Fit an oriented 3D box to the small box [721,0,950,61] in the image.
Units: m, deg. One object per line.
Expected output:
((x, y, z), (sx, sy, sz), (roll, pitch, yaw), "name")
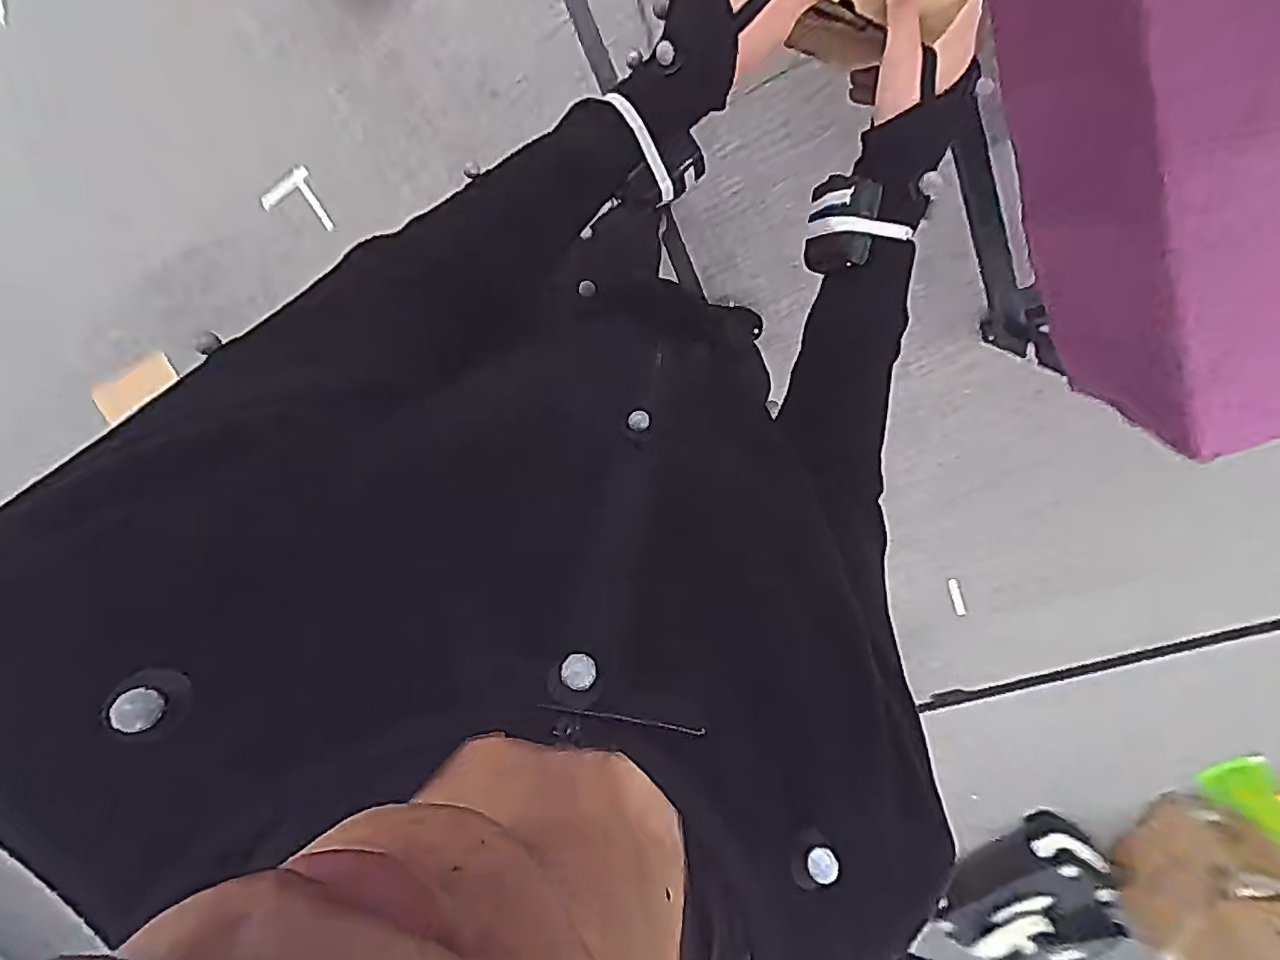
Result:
((0.163, -0.457, 0.413), (0.168, 0.176, 0.179), (14, 119, -11), "small box")
